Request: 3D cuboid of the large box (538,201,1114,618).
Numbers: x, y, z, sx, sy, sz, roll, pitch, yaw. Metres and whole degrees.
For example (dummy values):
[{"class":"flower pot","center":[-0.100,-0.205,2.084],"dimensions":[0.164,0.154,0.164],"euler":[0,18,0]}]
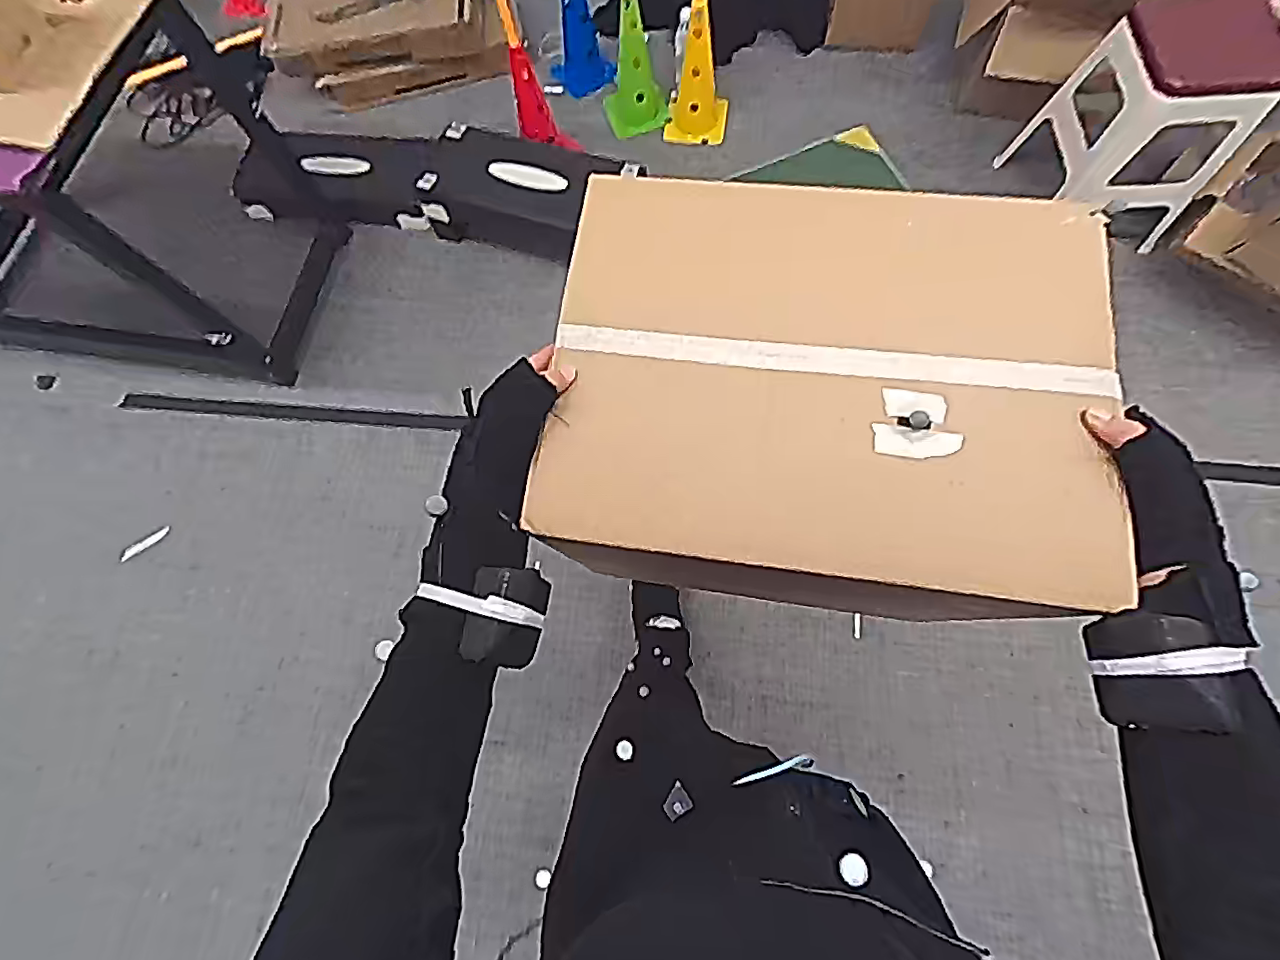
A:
[{"class":"large box","center":[0.147,-0.041,0.558],"dimensions":[0.408,0.320,0.320],"euler":[7,76,6]}]
